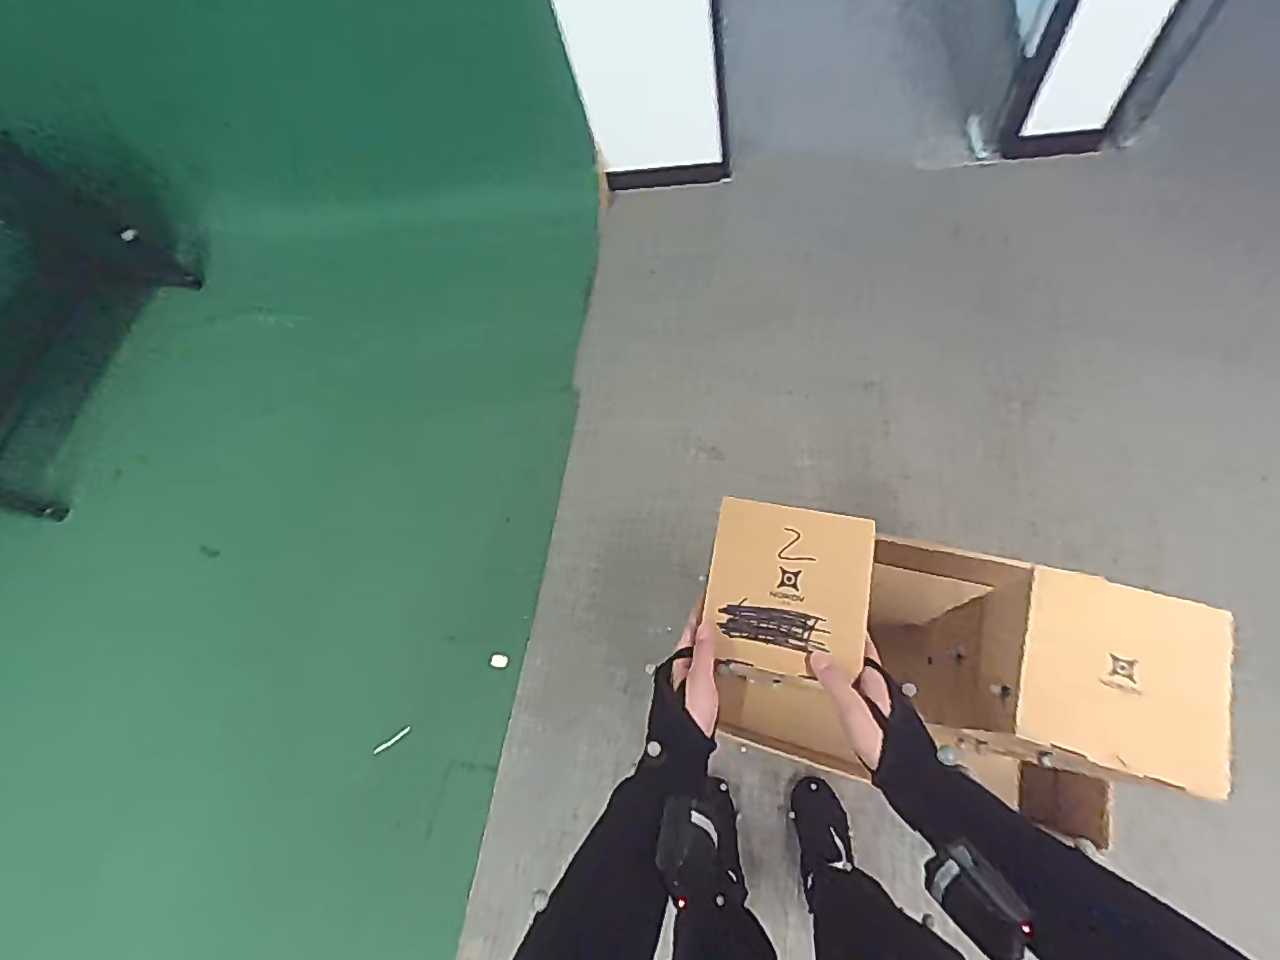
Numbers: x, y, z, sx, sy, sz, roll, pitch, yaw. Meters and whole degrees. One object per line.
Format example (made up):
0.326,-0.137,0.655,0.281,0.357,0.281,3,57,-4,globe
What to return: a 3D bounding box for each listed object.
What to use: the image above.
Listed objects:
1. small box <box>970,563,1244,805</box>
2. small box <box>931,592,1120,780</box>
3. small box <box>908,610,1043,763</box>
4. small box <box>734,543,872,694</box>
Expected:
0.481,0.211,0.583,0.168,0.176,0.179,14,73,18,small box
0.513,0.271,0.730,0.168,0.176,0.179,14,73,18,small box
0.552,0.330,0.877,0.168,0.176,0.179,15,73,19,small box
0.241,0.212,0.814,0.168,0.176,0.179,8,71,17,small box
